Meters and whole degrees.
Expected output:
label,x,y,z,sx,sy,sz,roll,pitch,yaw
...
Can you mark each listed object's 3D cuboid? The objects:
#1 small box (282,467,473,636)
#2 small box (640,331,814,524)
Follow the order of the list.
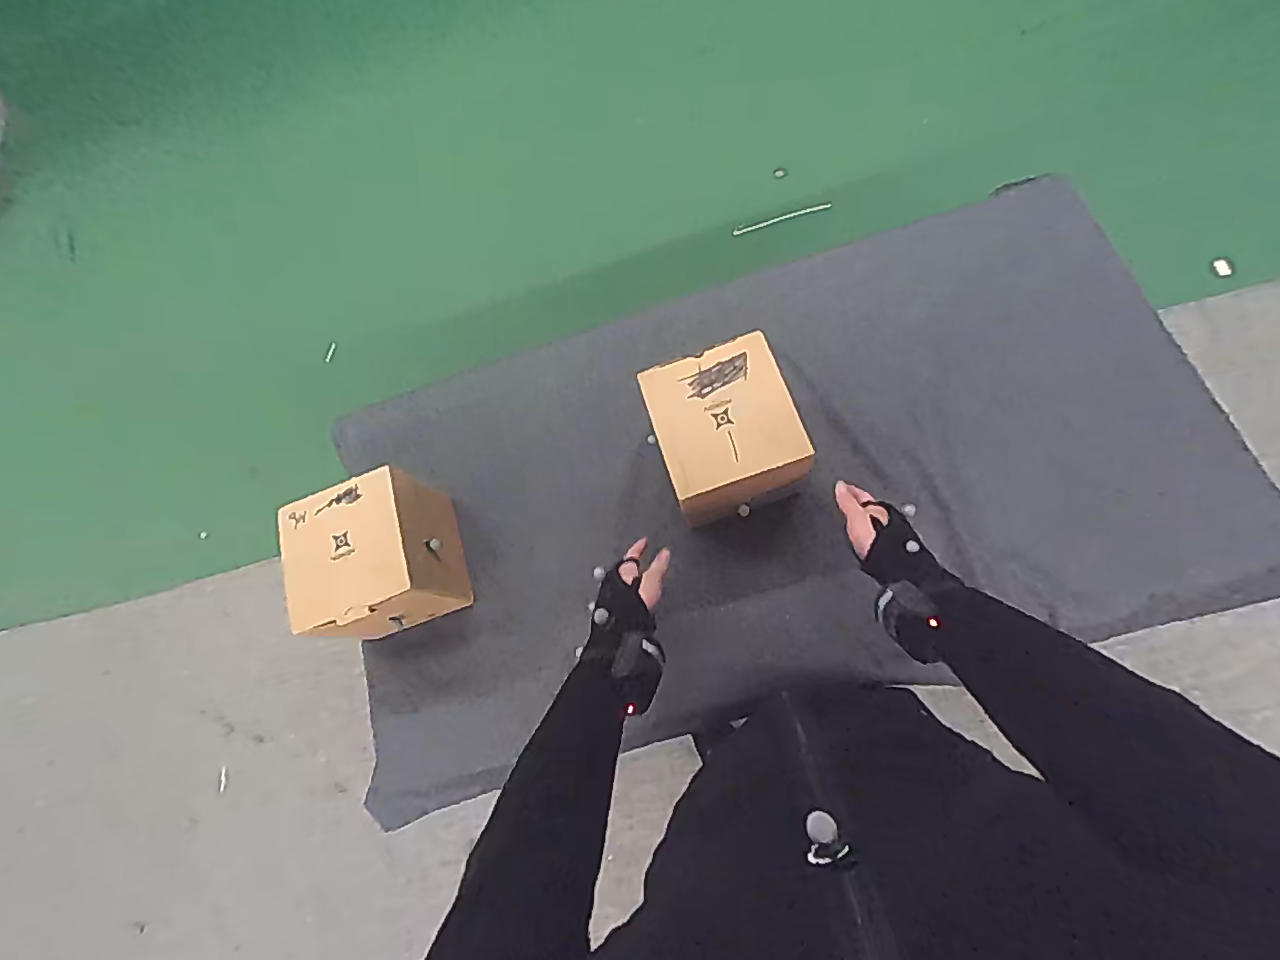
label,x,y,z,sx,sy,sz,roll,pitch,yaw
small box,-0.357,0.108,0.760,0.168,0.176,0.179,-21,71,4
small box,0.111,-0.059,0.718,0.168,0.176,0.179,-19,72,5
